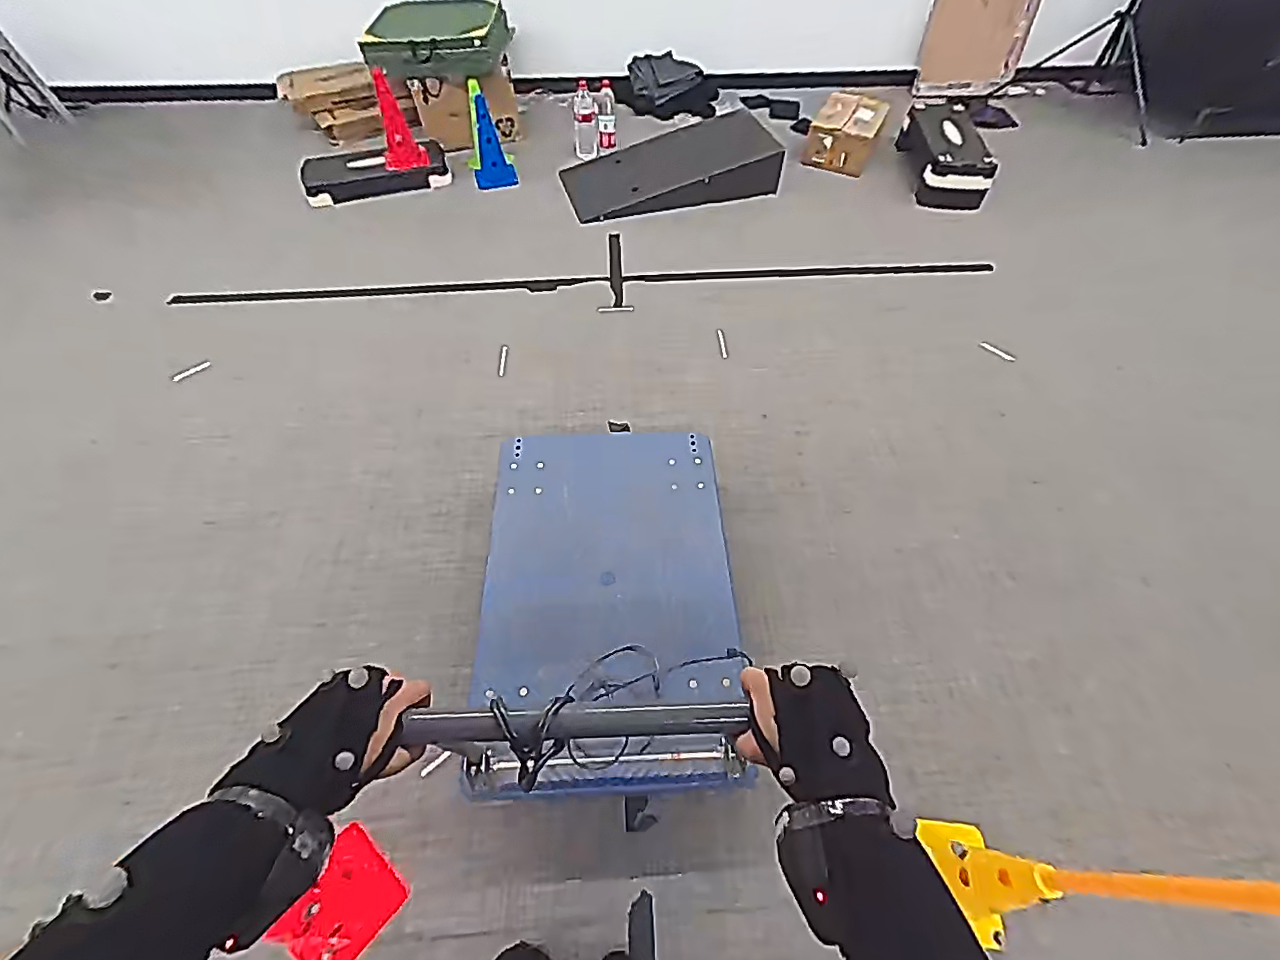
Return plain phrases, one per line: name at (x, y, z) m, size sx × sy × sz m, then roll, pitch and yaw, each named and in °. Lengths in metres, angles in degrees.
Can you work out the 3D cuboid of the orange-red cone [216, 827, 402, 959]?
orange-red cone at (-0.581, 0.716, 0.902) m, size 0.198 × 0.360 × 0.199 m, roll 37°, pitch 61°, yaw 22°
